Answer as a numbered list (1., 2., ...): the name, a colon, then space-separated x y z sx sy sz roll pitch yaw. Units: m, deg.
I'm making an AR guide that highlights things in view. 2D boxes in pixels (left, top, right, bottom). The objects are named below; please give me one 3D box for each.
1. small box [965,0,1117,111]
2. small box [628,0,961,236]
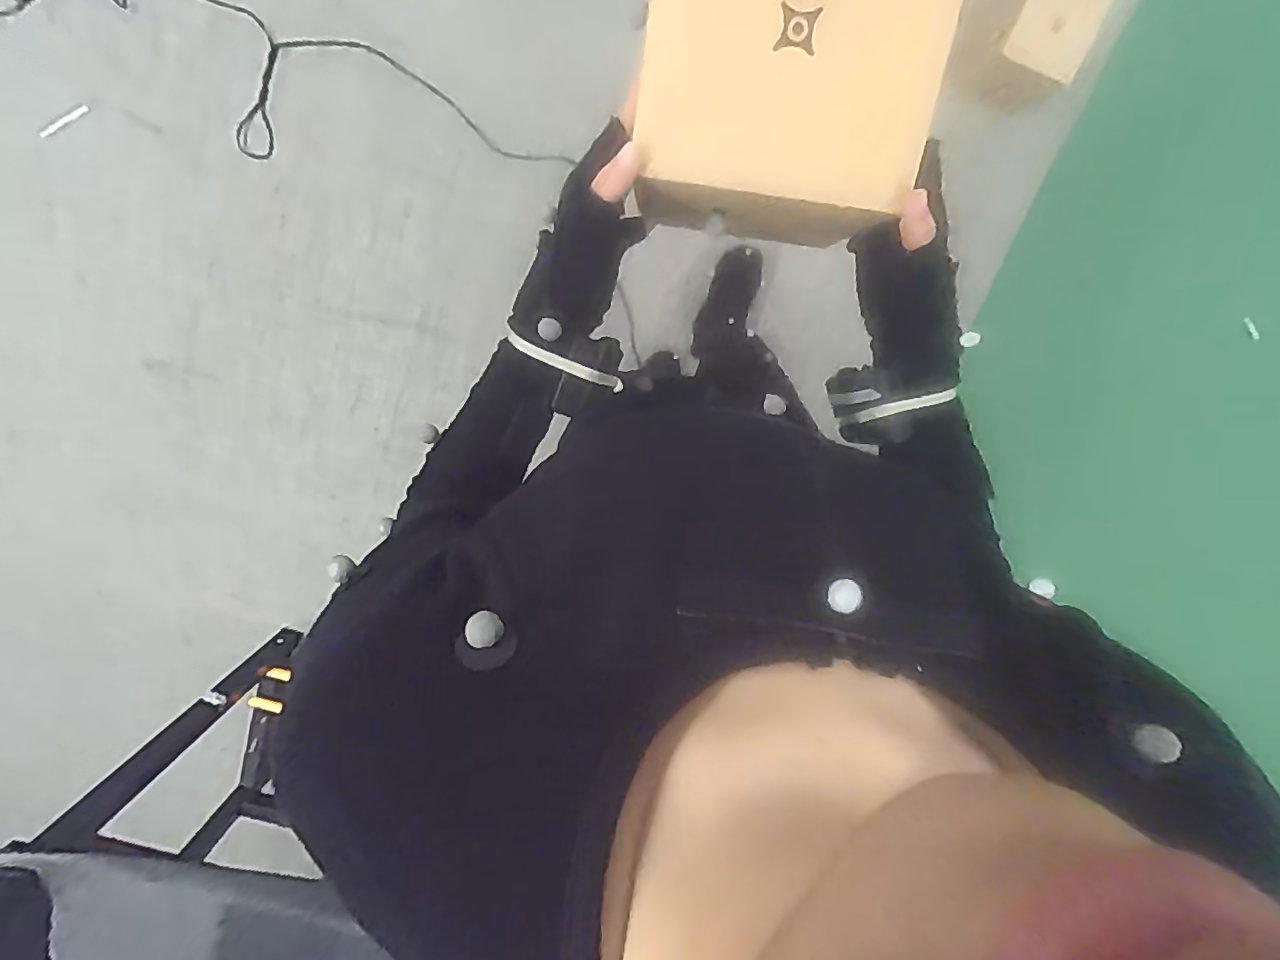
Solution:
1. small box: 0.838 -0.932 1.152 0.168 0.176 0.179 20 105 -7
2. small box: 0.090 -0.274 0.361 0.168 0.176 0.179 8 106 1
